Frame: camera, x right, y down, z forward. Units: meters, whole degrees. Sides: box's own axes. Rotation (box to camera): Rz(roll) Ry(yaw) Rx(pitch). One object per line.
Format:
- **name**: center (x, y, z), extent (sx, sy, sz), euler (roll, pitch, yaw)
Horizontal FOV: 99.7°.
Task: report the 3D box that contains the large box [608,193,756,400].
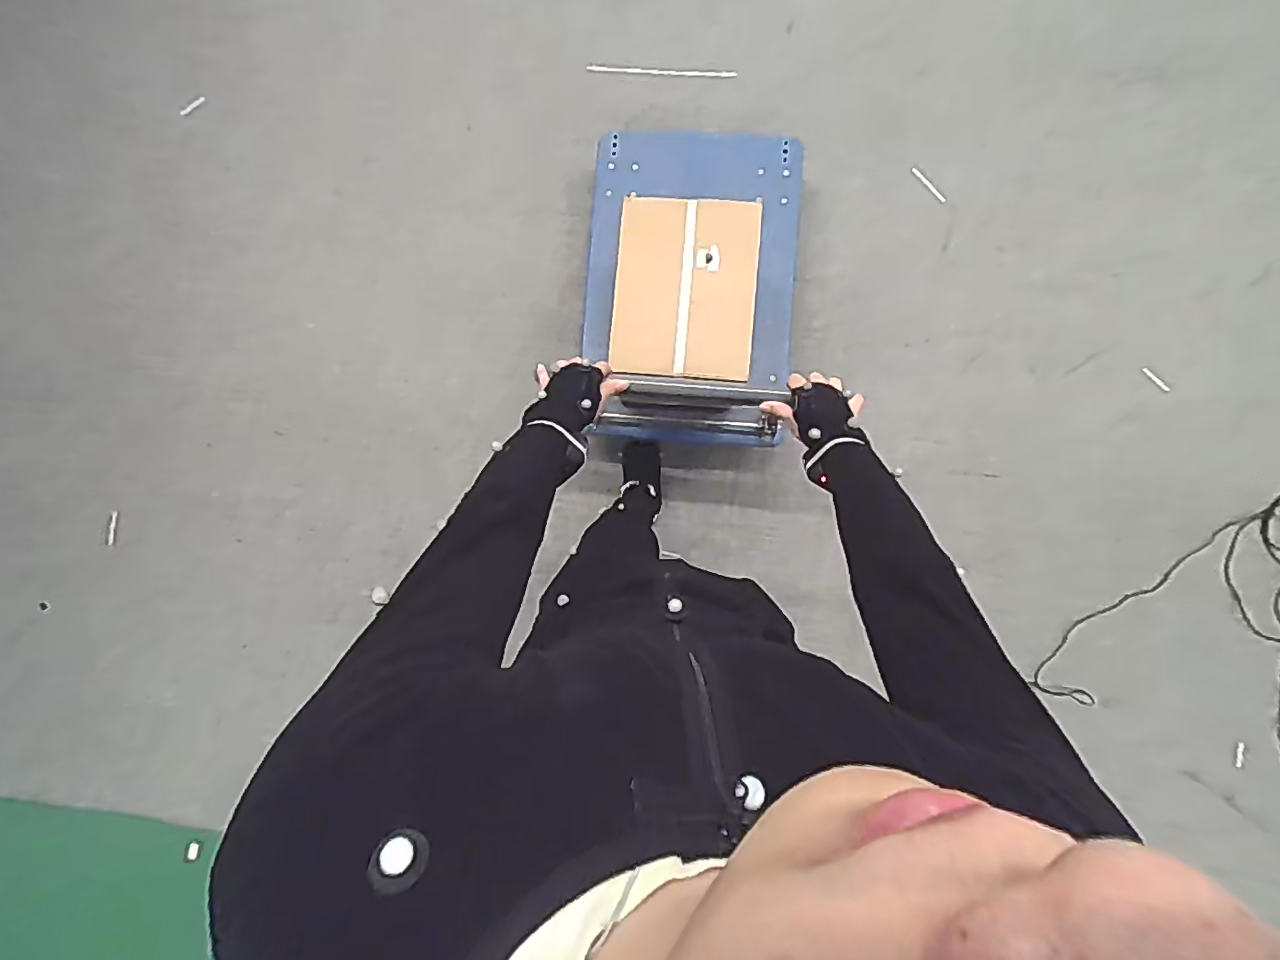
- **large box**: center (0.104, -0.432, 1.349), extent (0.320, 0.320, 0.408), euler (5, 86, 3)
